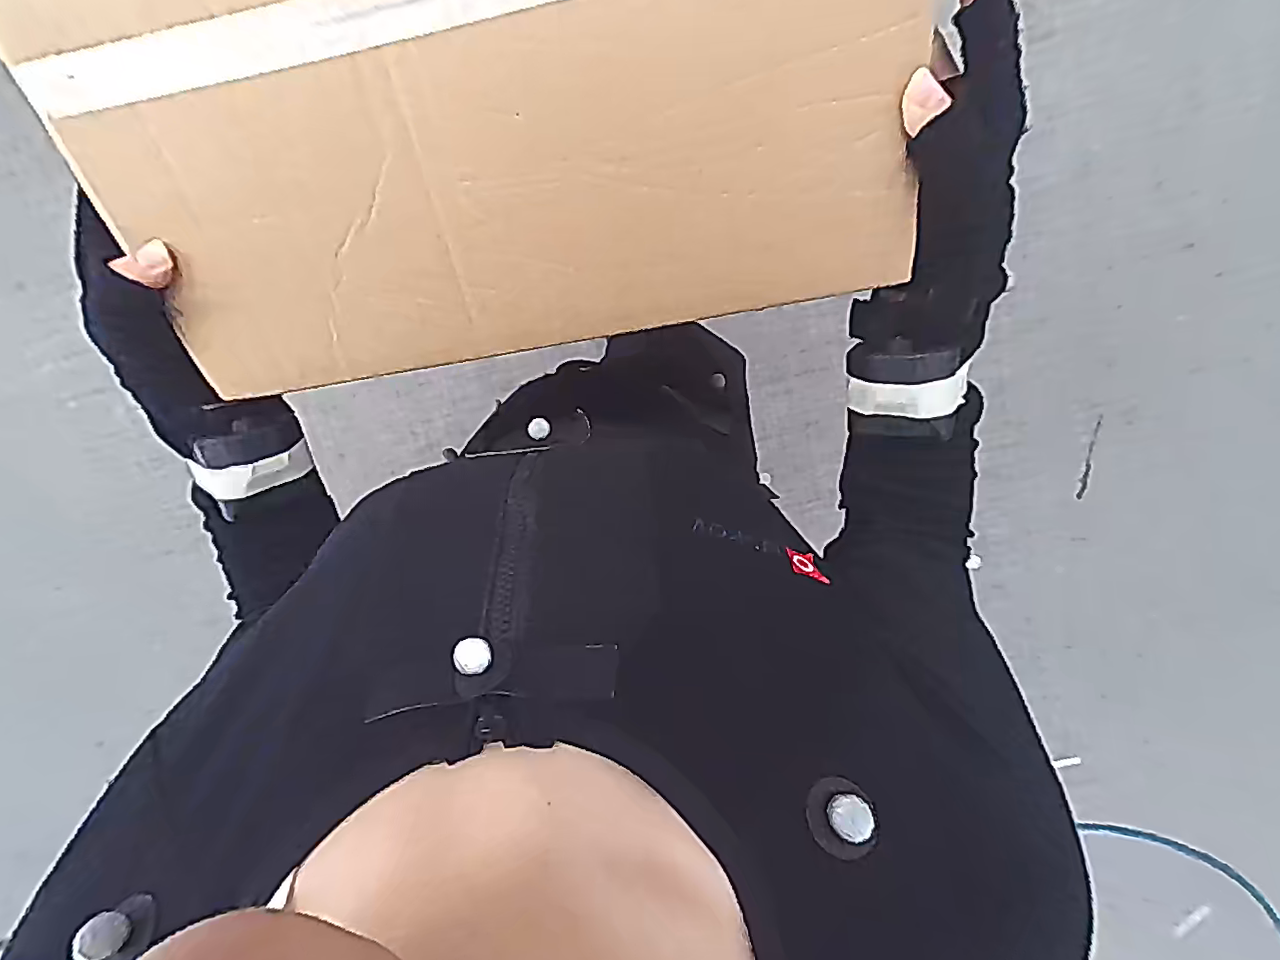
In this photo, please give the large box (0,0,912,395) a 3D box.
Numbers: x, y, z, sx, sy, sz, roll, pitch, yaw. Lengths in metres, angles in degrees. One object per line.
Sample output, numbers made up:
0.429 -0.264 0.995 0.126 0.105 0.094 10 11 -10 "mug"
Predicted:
-0.079 -0.291 0.364 0.408 0.320 0.320 -9 121 6 "large box"
